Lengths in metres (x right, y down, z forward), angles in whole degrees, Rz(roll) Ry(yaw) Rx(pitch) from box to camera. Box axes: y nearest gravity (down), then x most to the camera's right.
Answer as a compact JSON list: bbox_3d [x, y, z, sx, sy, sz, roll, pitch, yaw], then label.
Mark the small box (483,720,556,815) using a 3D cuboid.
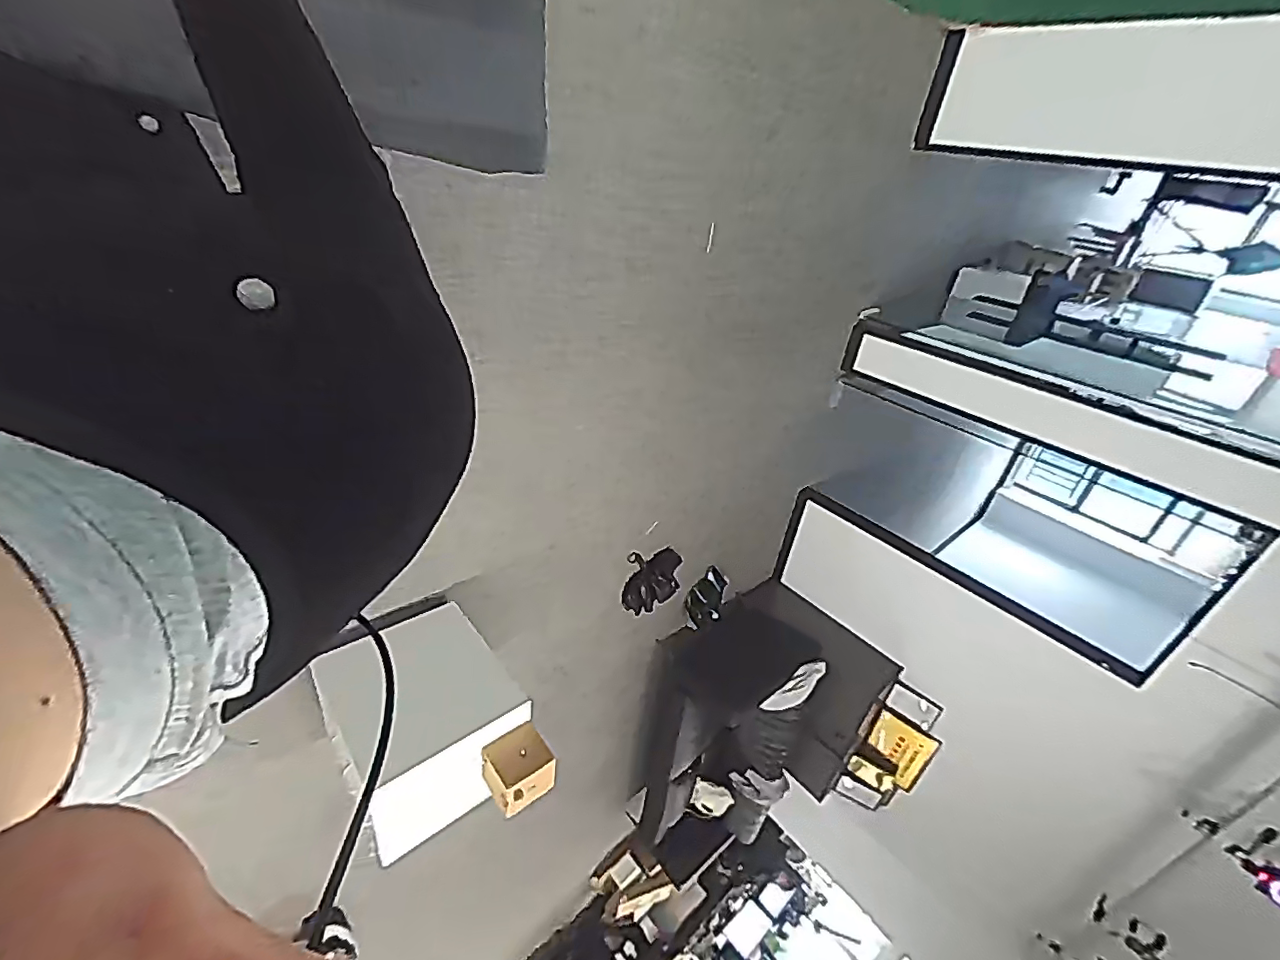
[{"bbox_3d":[-0.393,0.923,1.748,0.179,0.176,0.168,-19,131,-38],"label":"small box"}]
